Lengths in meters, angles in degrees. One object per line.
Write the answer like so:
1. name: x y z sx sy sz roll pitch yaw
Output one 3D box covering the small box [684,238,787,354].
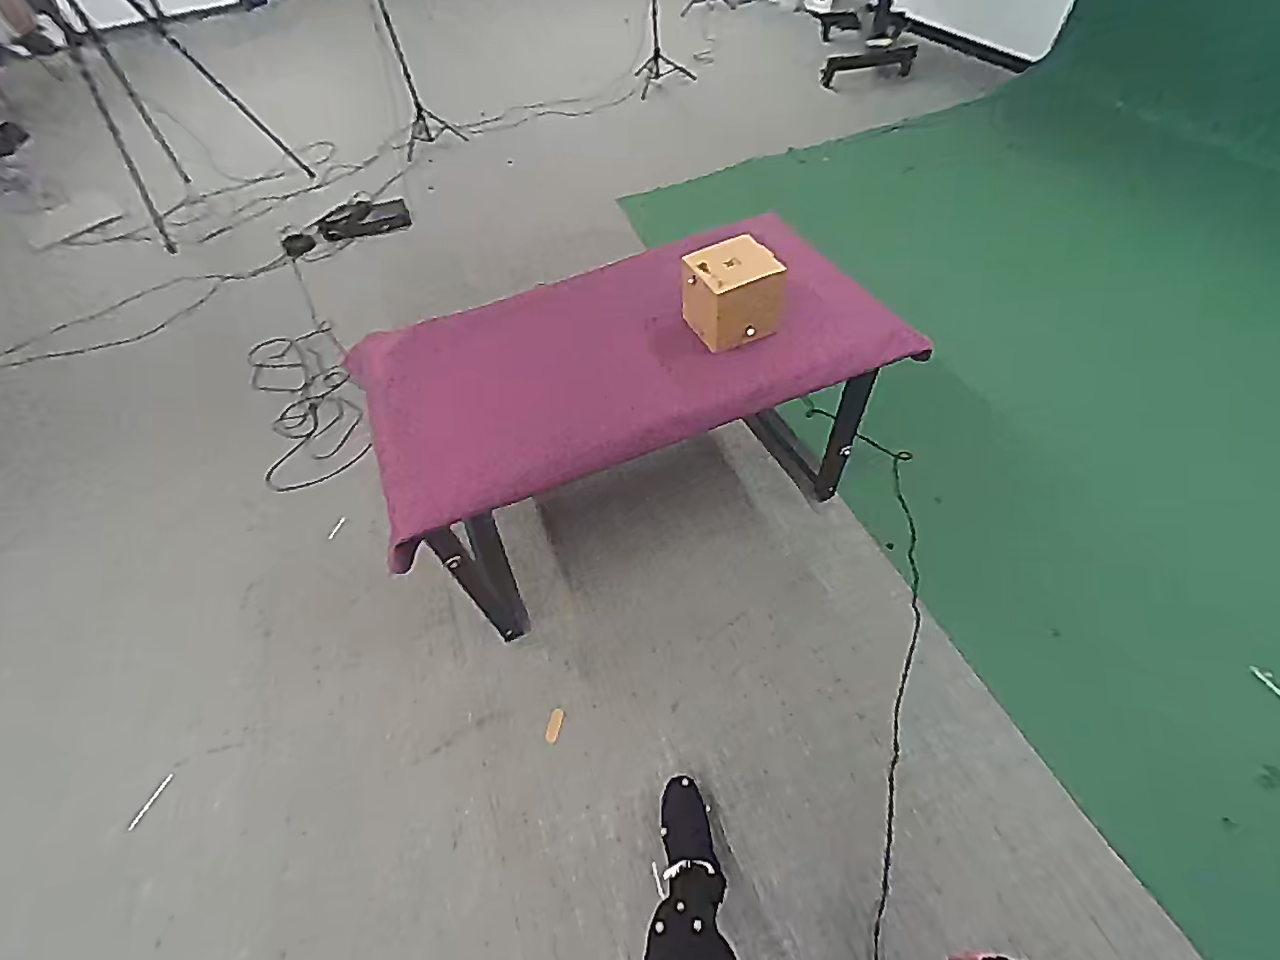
1. small box: 0.215 -0.425 1.261 0.179 0.176 0.168 -23 55 -10
